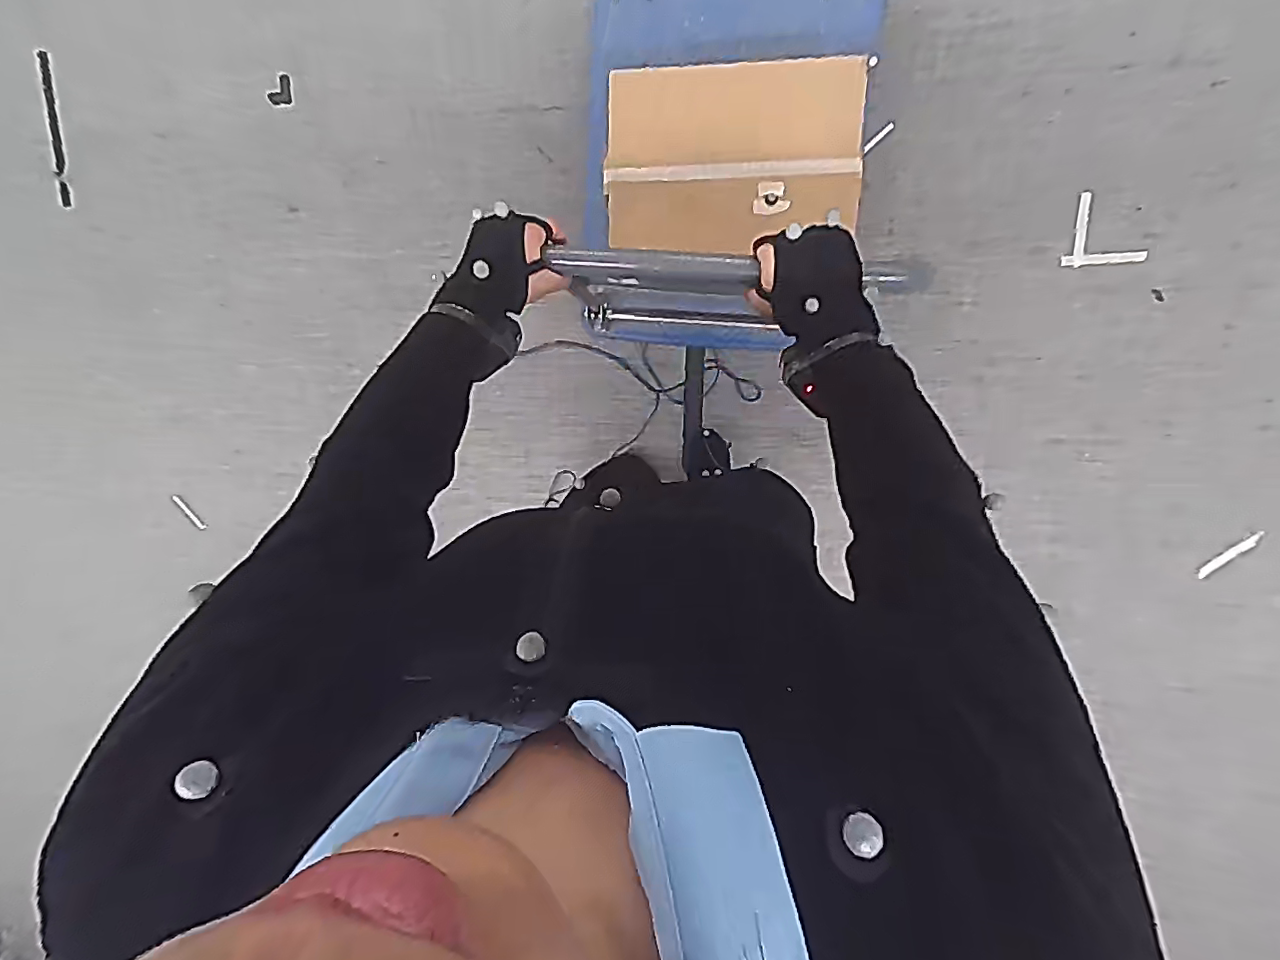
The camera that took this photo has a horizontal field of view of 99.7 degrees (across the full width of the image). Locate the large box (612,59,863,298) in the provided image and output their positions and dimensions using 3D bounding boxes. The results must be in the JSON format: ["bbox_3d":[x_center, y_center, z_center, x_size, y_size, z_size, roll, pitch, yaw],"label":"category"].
[{"bbox_3d":[0.168,-0.535,1.036,0.408,0.320,0.320,2,102,7],"label":"large box"}]
